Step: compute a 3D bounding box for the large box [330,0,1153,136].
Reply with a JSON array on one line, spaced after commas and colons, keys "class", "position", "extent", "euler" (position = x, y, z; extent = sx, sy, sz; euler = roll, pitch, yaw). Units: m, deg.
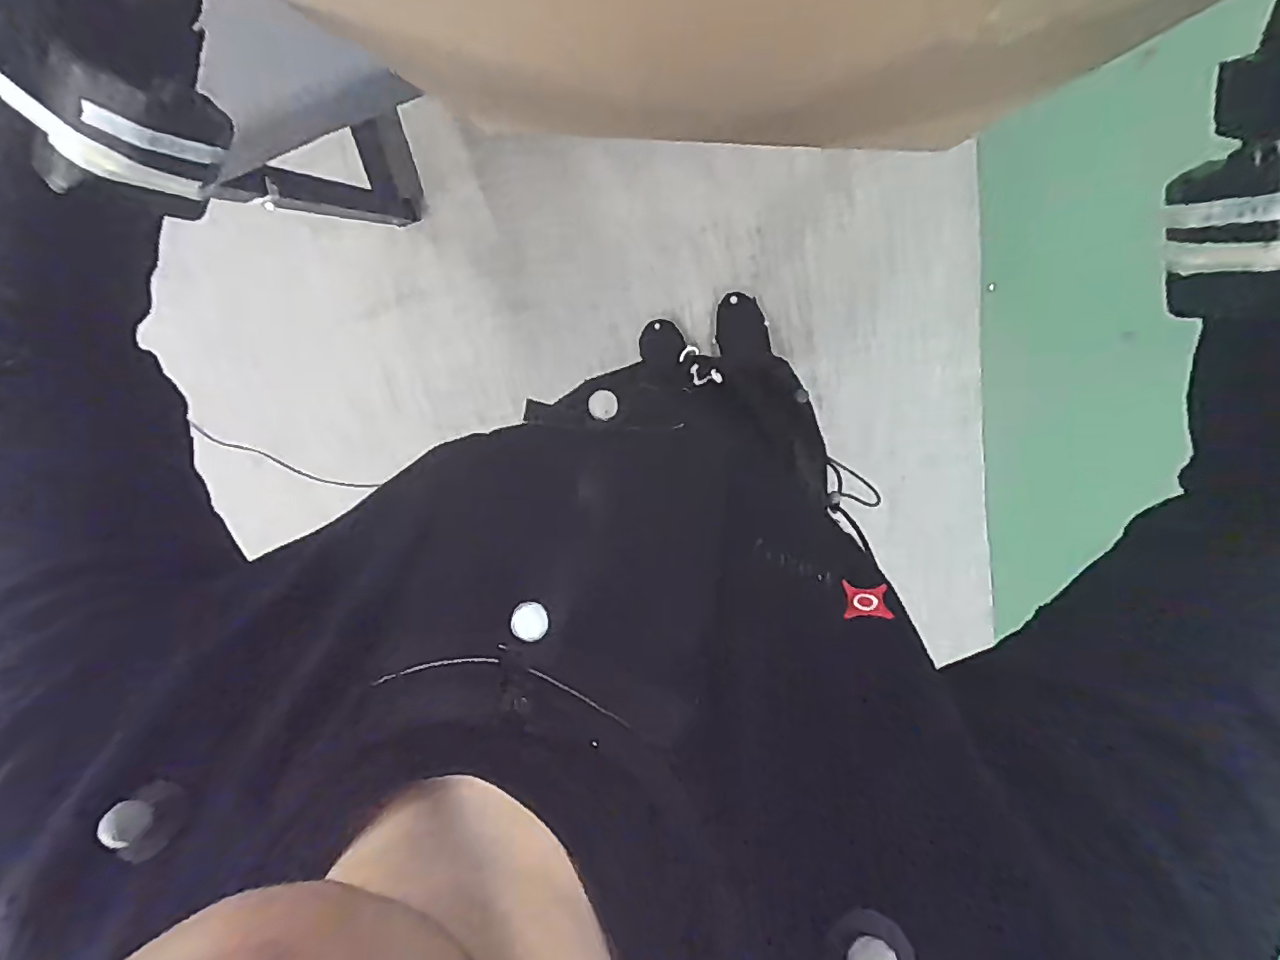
[{"class": "large box", "position": [0.050, -0.392, 0.276], "extent": [0.408, 0.320, 0.320], "euler": [5, 111, 5]}]
